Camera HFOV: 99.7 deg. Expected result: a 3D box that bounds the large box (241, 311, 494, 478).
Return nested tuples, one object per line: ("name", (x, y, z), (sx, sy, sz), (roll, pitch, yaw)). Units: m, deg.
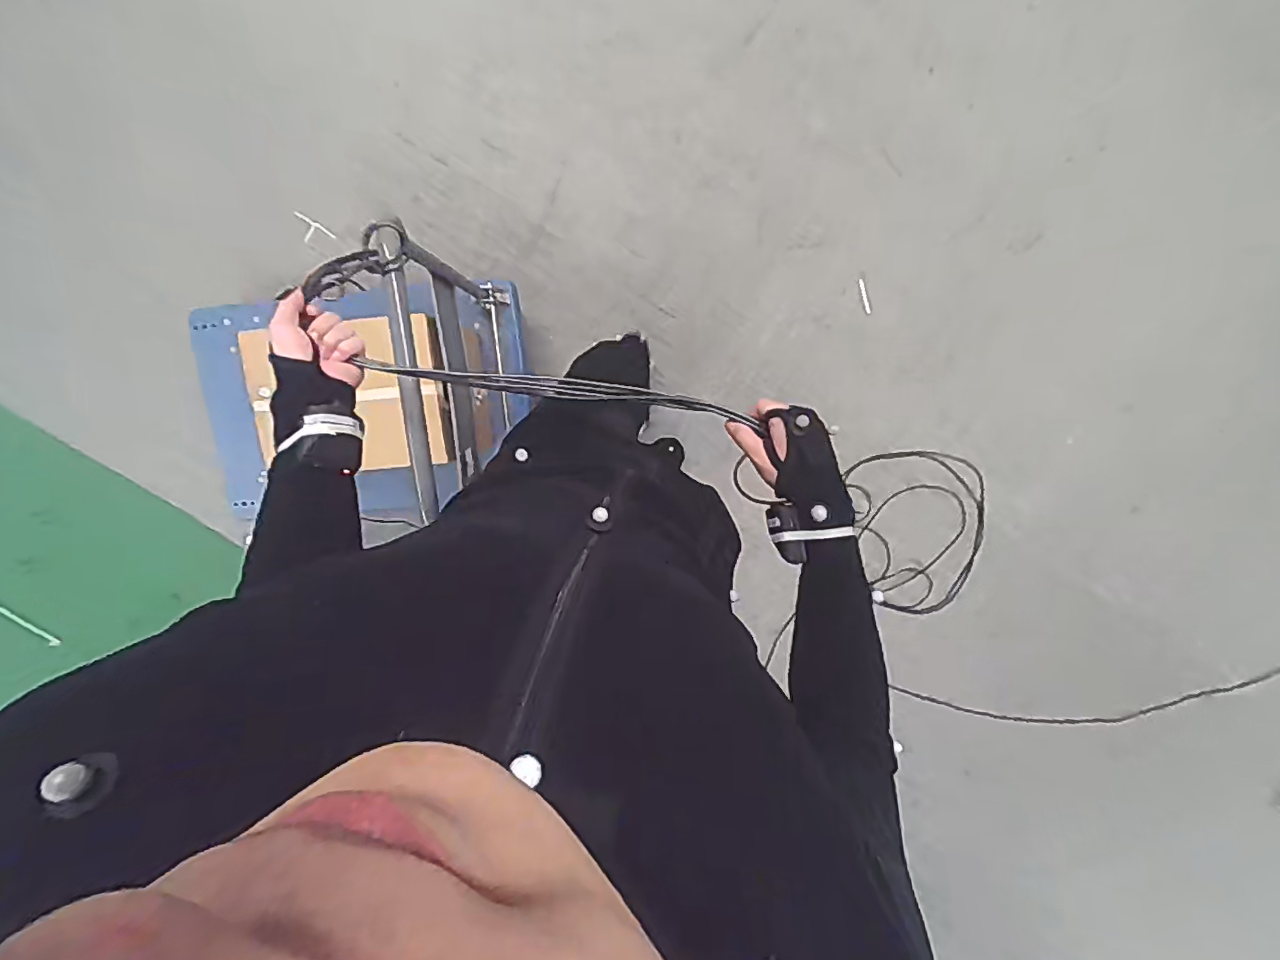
("large box", (-0.602, -0.199, 1.269), (0.408, 0.320, 0.320), (-5, 99, 4))
